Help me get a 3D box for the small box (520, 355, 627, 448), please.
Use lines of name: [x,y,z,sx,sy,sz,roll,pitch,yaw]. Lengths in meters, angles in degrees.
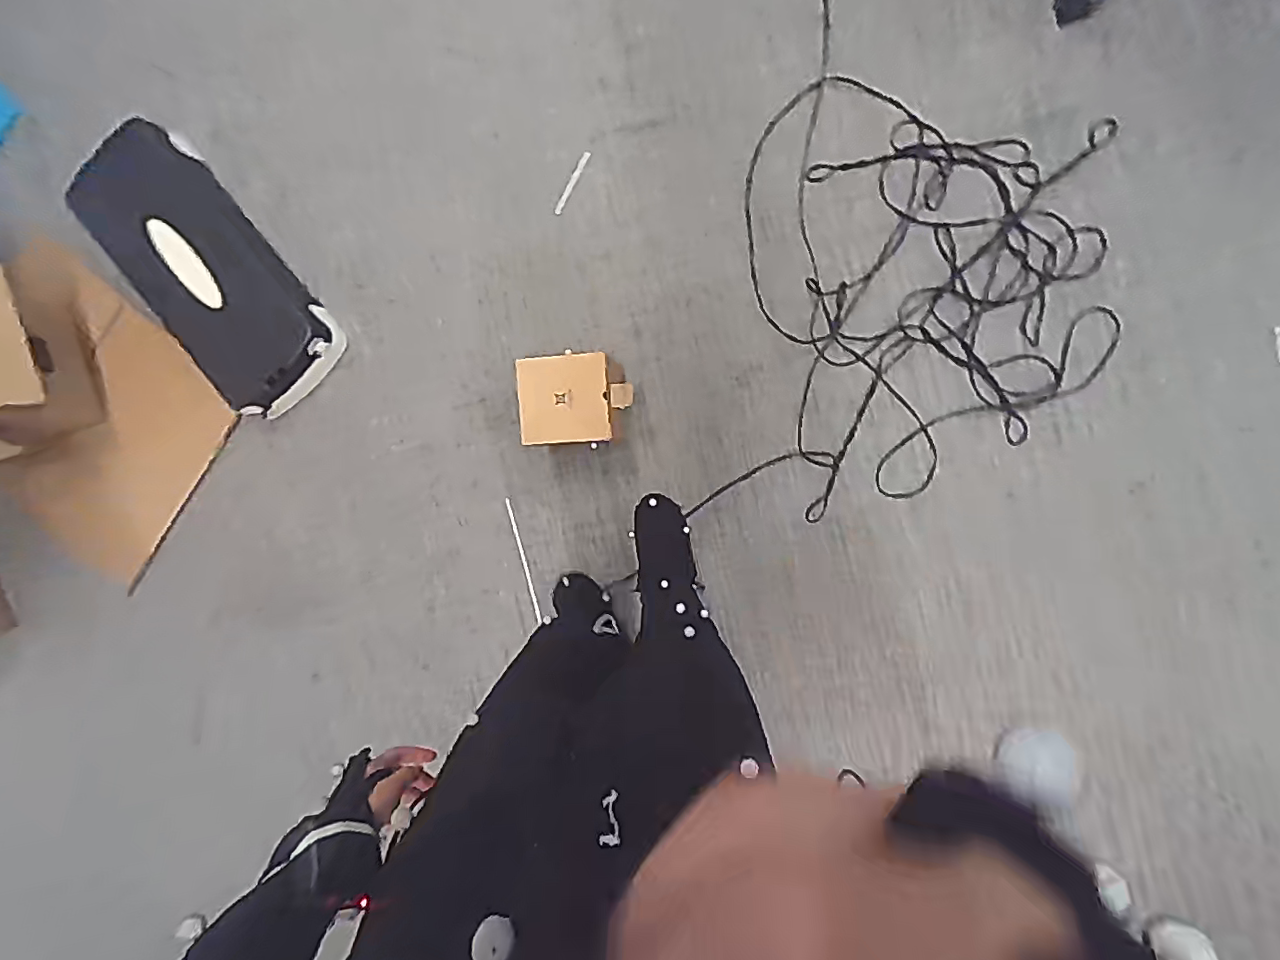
small box: [-0.128,-0.152,1.098,0.179,0.176,0.168,-3,93,7]
